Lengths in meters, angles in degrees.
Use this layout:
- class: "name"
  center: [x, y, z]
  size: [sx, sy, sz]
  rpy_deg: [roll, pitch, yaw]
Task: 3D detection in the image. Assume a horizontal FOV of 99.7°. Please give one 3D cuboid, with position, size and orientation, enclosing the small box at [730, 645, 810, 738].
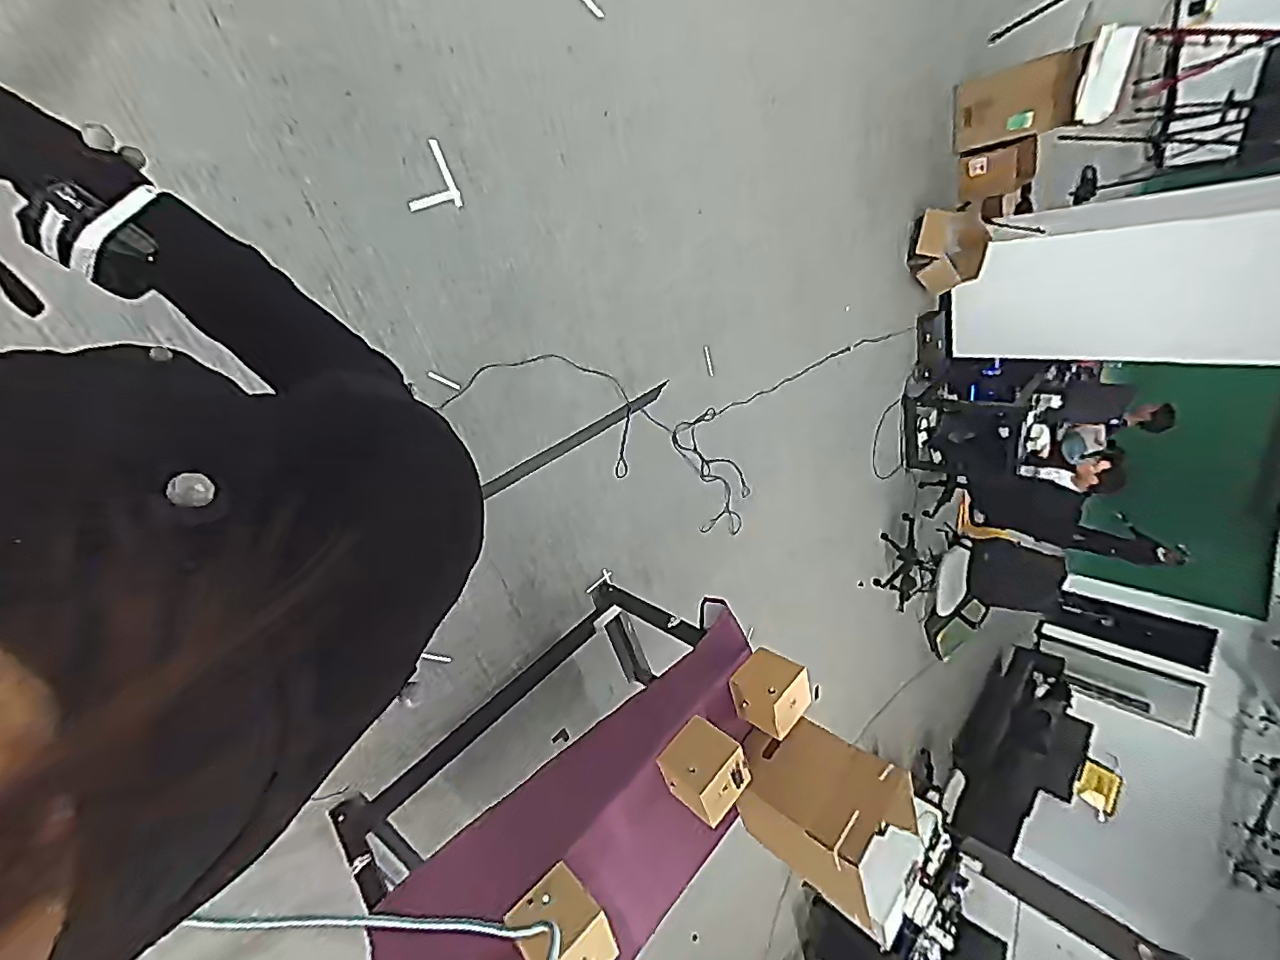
- class: "small box"
  center: [0.408, 0.655, 1.696]
  size: [0.179, 0.176, 0.168]
  rpy_deg: [-35, 123, -31]
